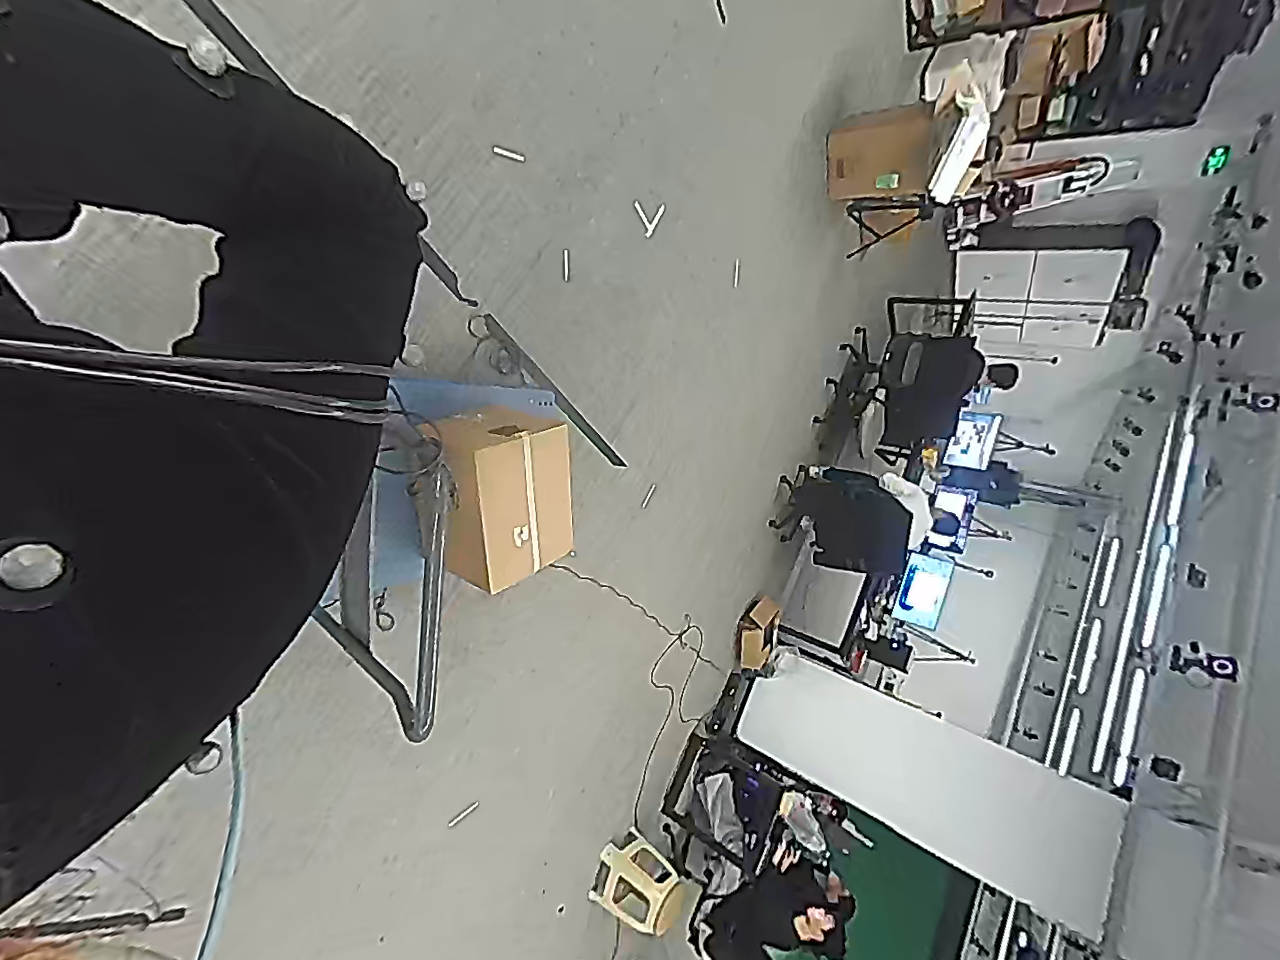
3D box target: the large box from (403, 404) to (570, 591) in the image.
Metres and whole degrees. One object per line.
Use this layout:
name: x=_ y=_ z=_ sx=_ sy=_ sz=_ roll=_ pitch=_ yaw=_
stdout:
large box: x=-0.420 y=0.030 z=1.527 sx=0.320 sy=0.320 sz=0.408 roll=-25 pitch=123 yaw=-47
